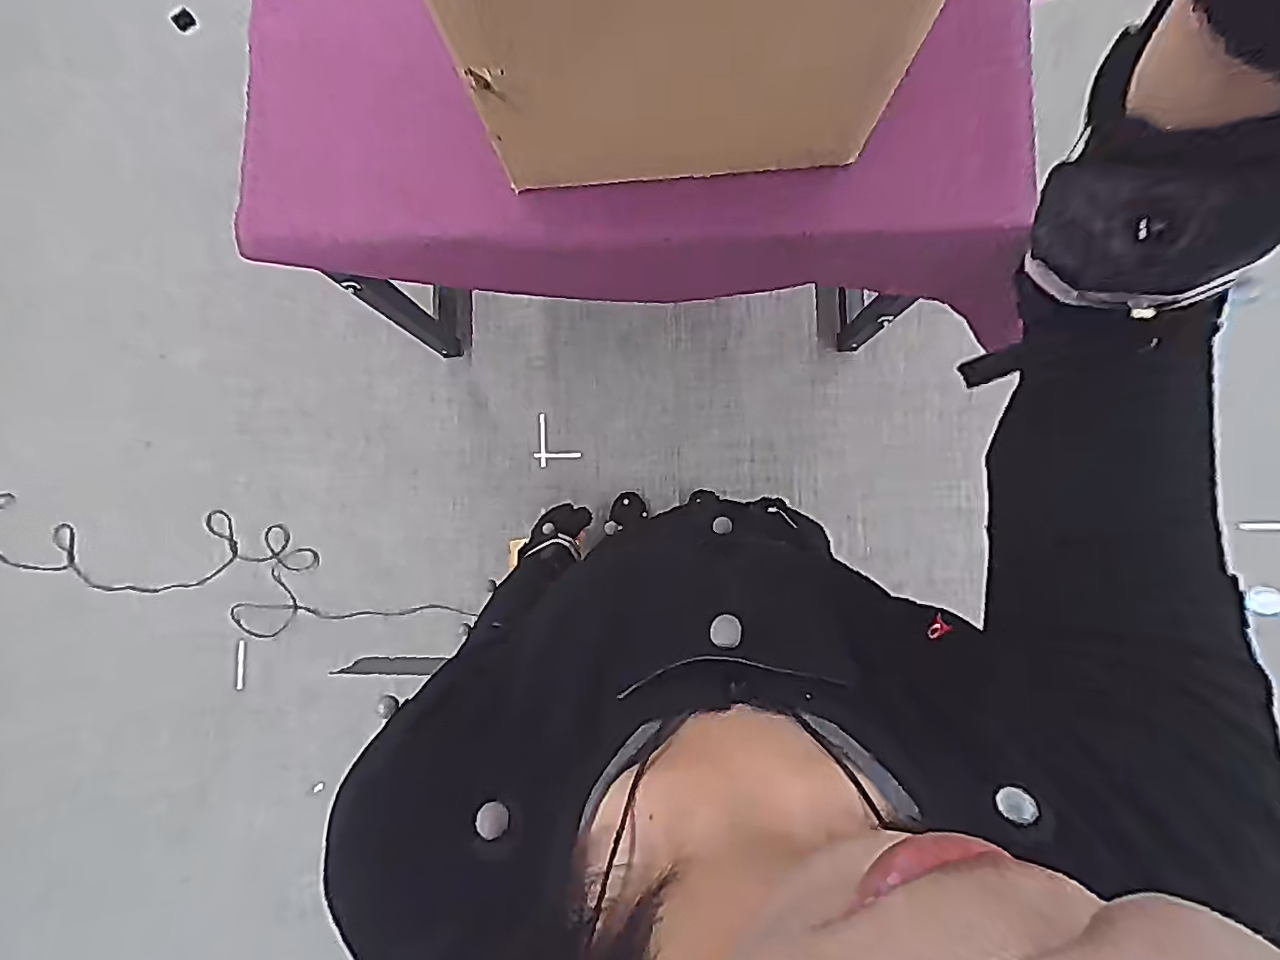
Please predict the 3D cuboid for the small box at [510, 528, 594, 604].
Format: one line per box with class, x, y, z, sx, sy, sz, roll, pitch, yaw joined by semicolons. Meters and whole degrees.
small box;-0.229;0.224;1.442;0.179;0.176;0.168;-11;87;0
